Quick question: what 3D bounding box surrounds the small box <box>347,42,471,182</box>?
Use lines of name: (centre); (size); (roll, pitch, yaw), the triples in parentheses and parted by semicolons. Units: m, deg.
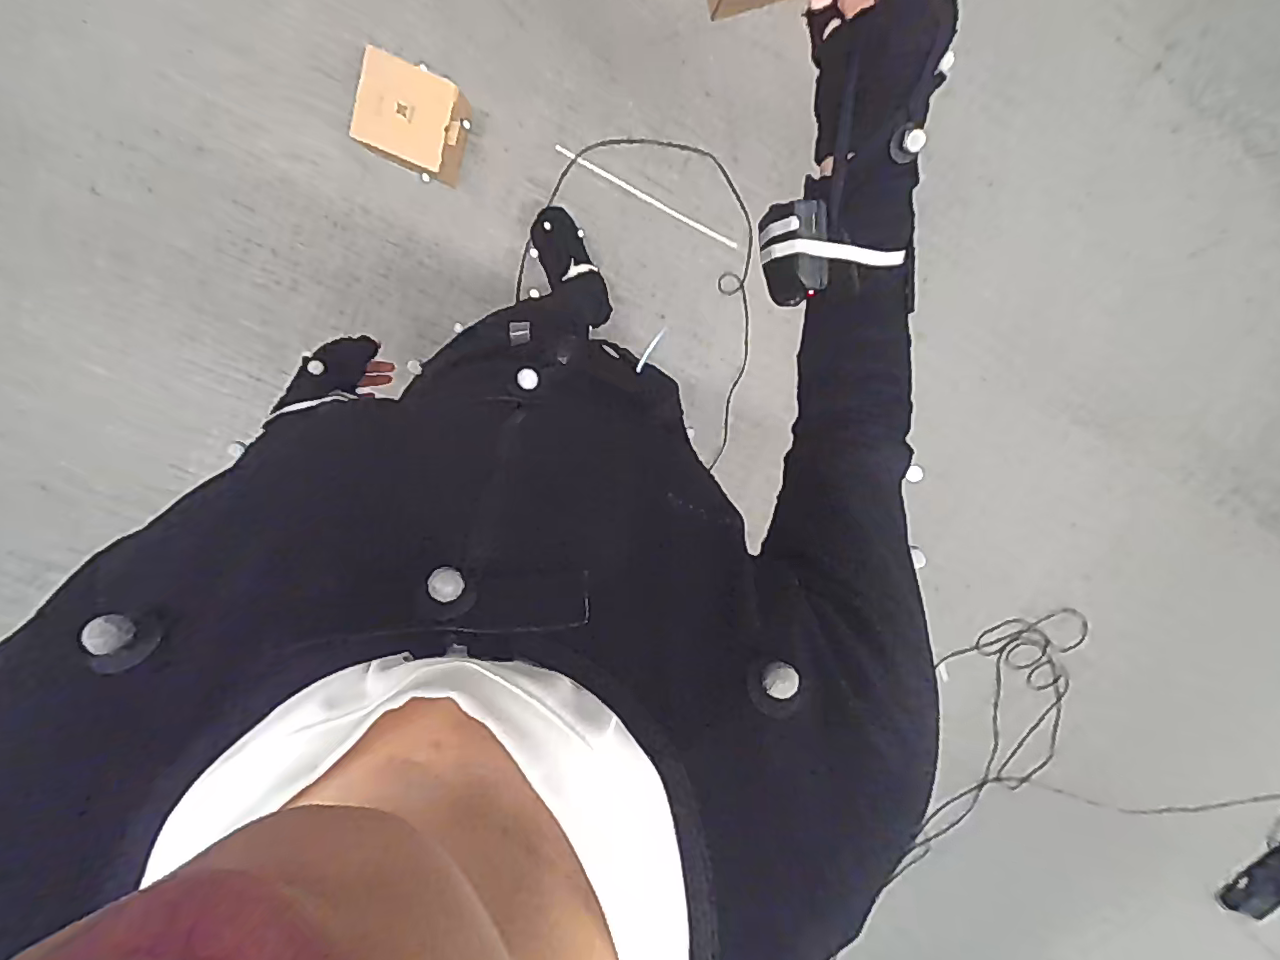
small box: (-0.463, -0.736, 1.108); (0.179, 0.176, 0.168); (19, 106, -12)
